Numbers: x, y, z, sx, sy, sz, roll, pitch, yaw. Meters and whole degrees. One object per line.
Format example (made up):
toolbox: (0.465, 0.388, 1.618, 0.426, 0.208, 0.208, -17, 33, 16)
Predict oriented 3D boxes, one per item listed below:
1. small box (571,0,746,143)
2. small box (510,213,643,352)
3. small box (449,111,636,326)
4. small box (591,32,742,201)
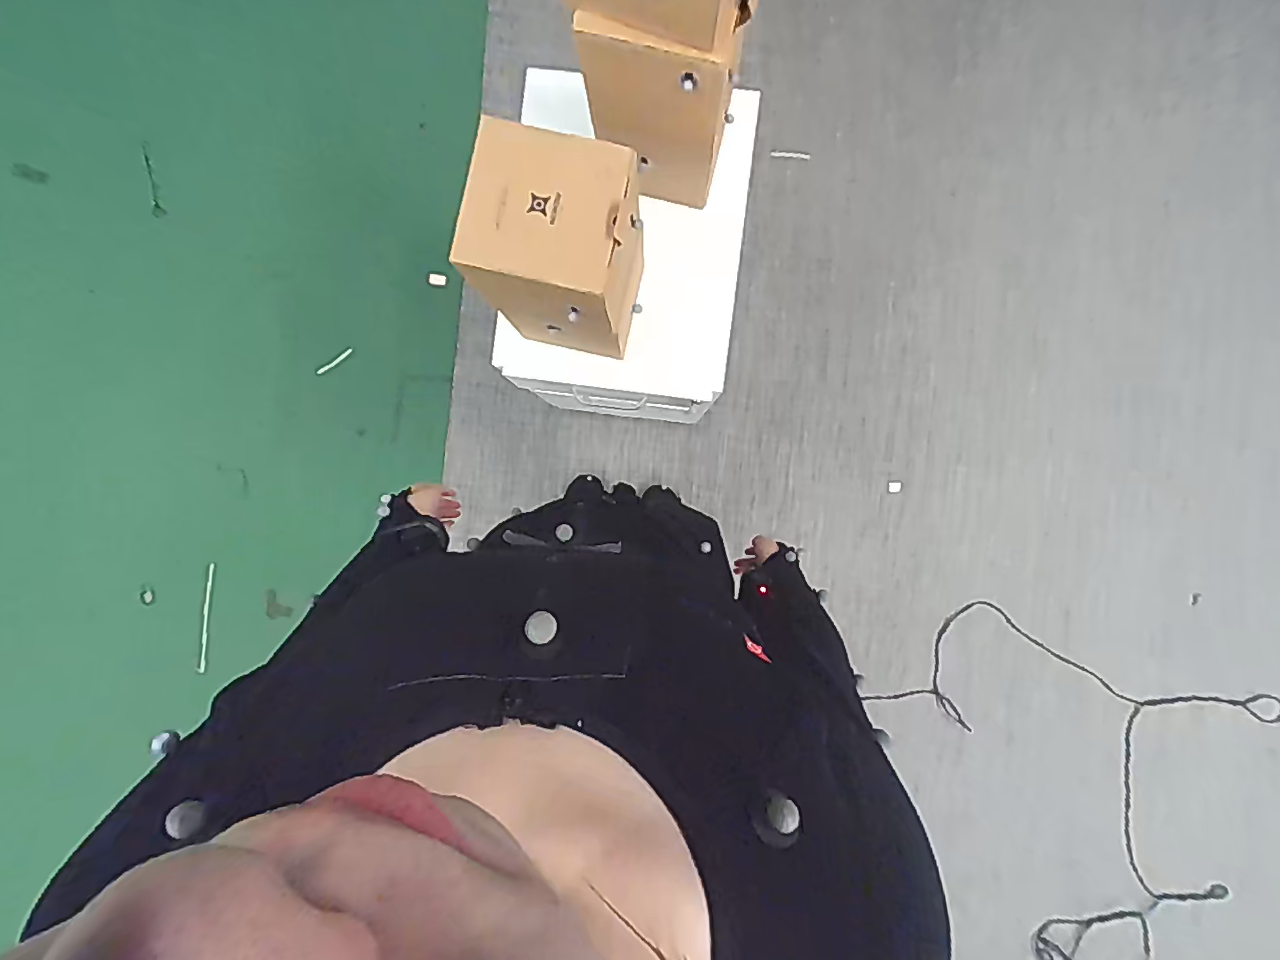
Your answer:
small box: (0.029, -0.550, 0.659, 0.179, 0.176, 0.168, 14, 91, 0)
small box: (-0.098, -0.307, 0.827, 0.179, 0.176, 0.168, 13, 91, 0)
small box: (-0.105, -0.303, 0.664, 0.179, 0.176, 0.168, 13, 89, 2)
small box: (0.038, -0.556, 0.820, 0.179, 0.176, 0.168, 15, 91, 1)
